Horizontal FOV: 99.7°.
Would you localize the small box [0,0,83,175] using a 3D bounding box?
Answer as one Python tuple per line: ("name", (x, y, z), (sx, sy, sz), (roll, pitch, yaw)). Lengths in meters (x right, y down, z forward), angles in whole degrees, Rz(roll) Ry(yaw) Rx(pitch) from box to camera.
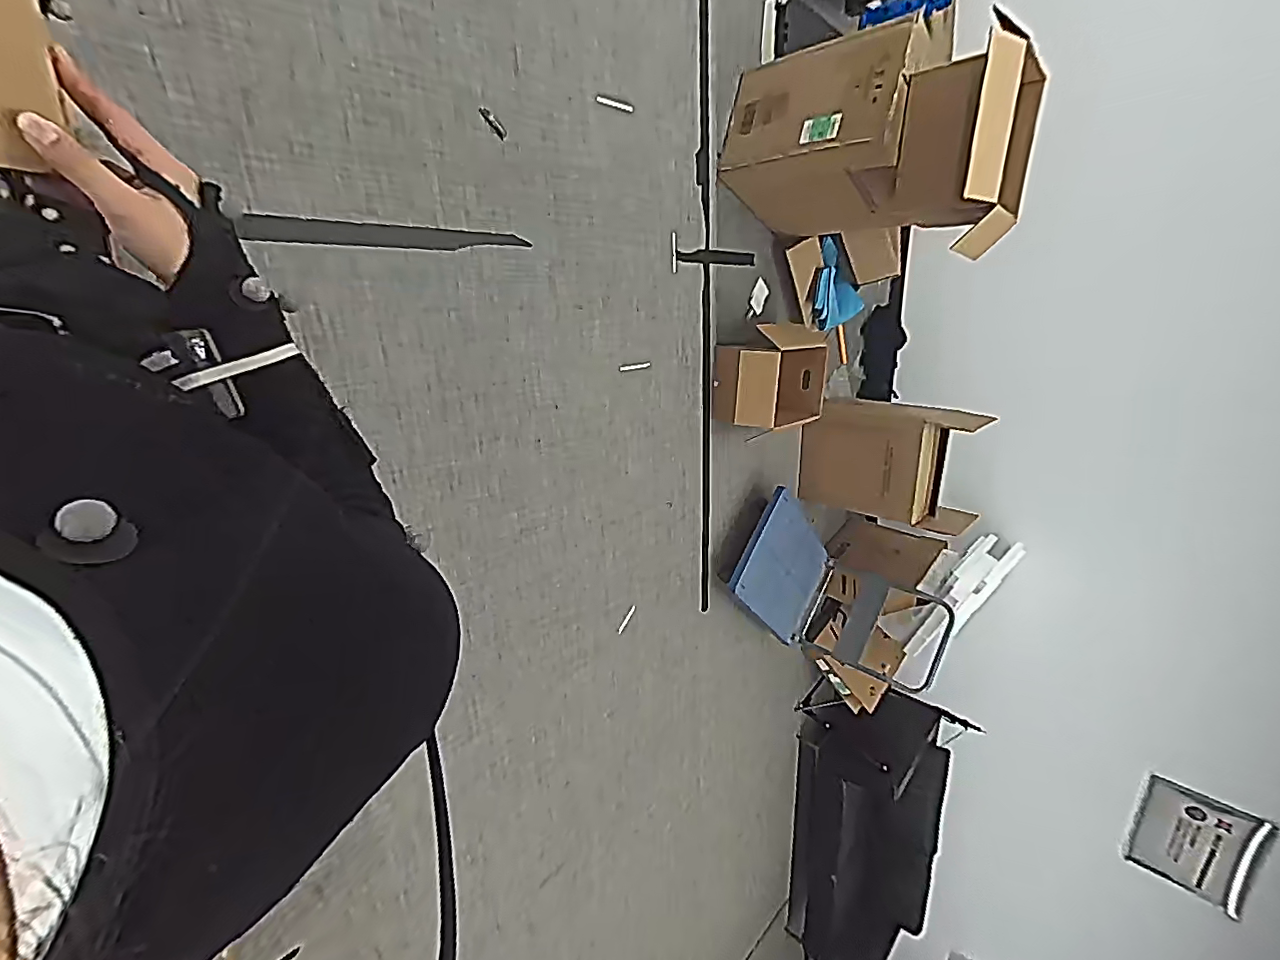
("small box", (-0.413, -0.271, 0.259), (0.179, 0.176, 0.168), (-13, 132, -40))
